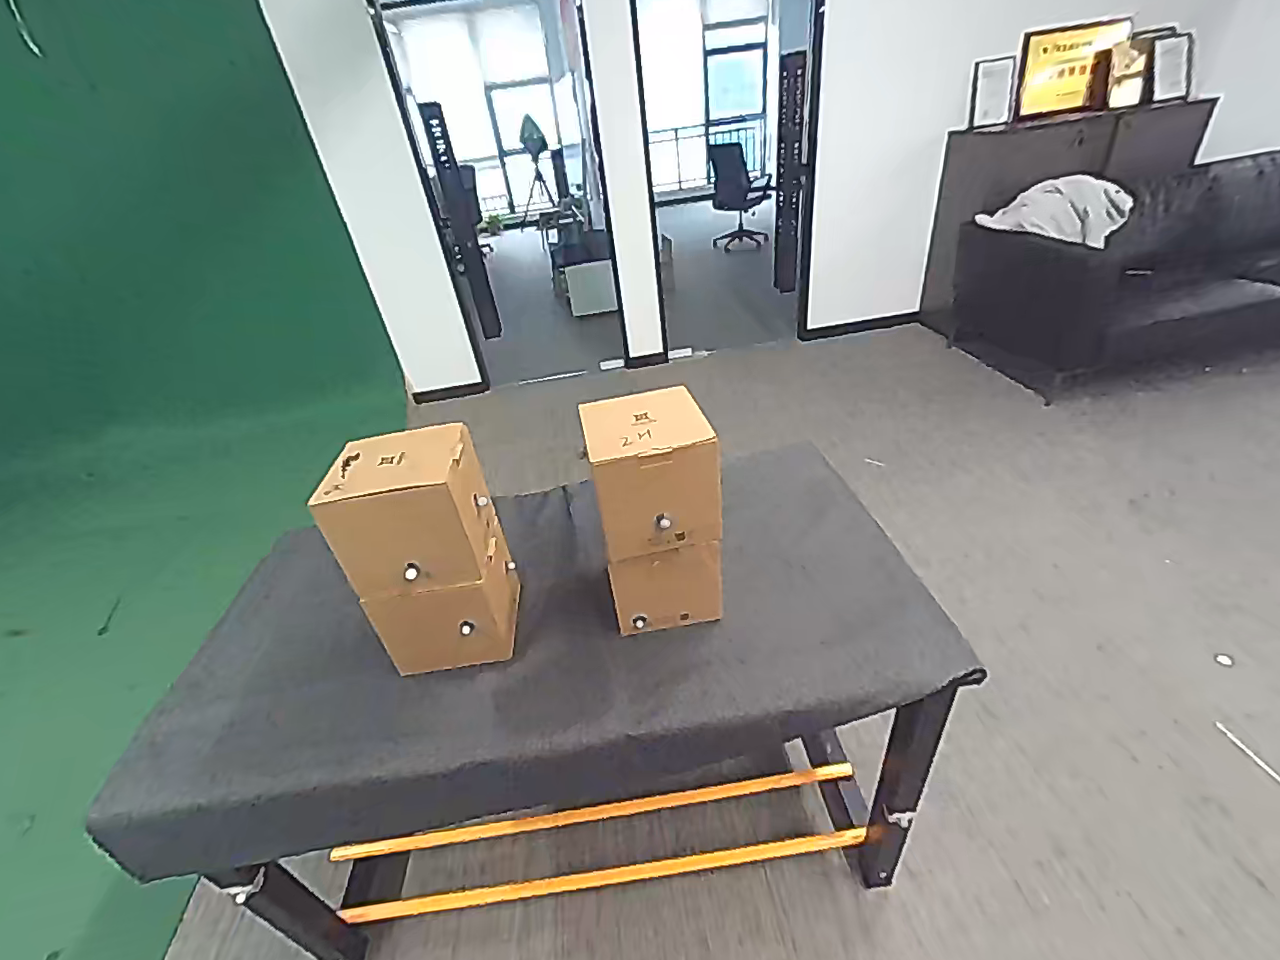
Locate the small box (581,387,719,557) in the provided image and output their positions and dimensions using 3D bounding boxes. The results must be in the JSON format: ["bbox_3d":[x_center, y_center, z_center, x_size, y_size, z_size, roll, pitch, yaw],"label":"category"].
[{"bbox_3d":[0.013,-0.015,0.793,0.168,0.176,0.179,-12,34,-5],"label":"small box"}]

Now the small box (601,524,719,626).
[{"bbox_3d":[0.030,0.120,0.885,0.168,0.176,0.179,-9,33,-3],"label":"small box"}]

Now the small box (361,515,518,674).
[{"bbox_3d":[-0.301,0.182,0.862,0.179,0.176,0.168,-9,32,-1],"label":"small box"}]

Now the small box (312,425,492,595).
[{"bbox_3d":[-0.322,0.042,0.779,0.179,0.176,0.168,-9,33,-3],"label":"small box"}]
